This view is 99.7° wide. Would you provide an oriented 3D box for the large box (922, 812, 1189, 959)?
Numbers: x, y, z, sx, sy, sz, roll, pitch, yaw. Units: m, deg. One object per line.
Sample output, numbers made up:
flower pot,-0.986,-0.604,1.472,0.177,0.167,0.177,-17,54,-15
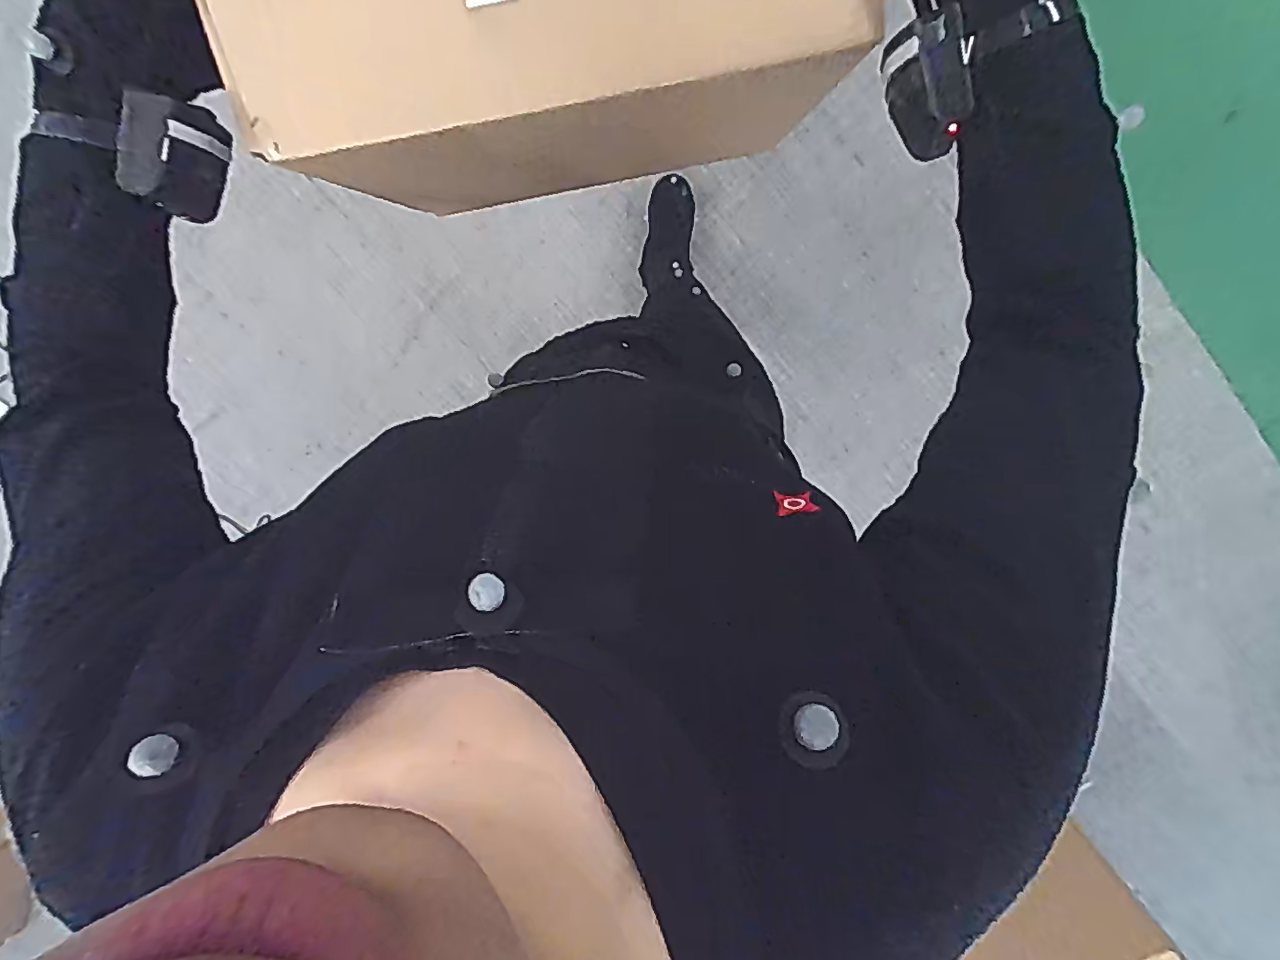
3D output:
large box,0.955,1.063,1.226,0.408,0.320,0.320,-40,98,14
